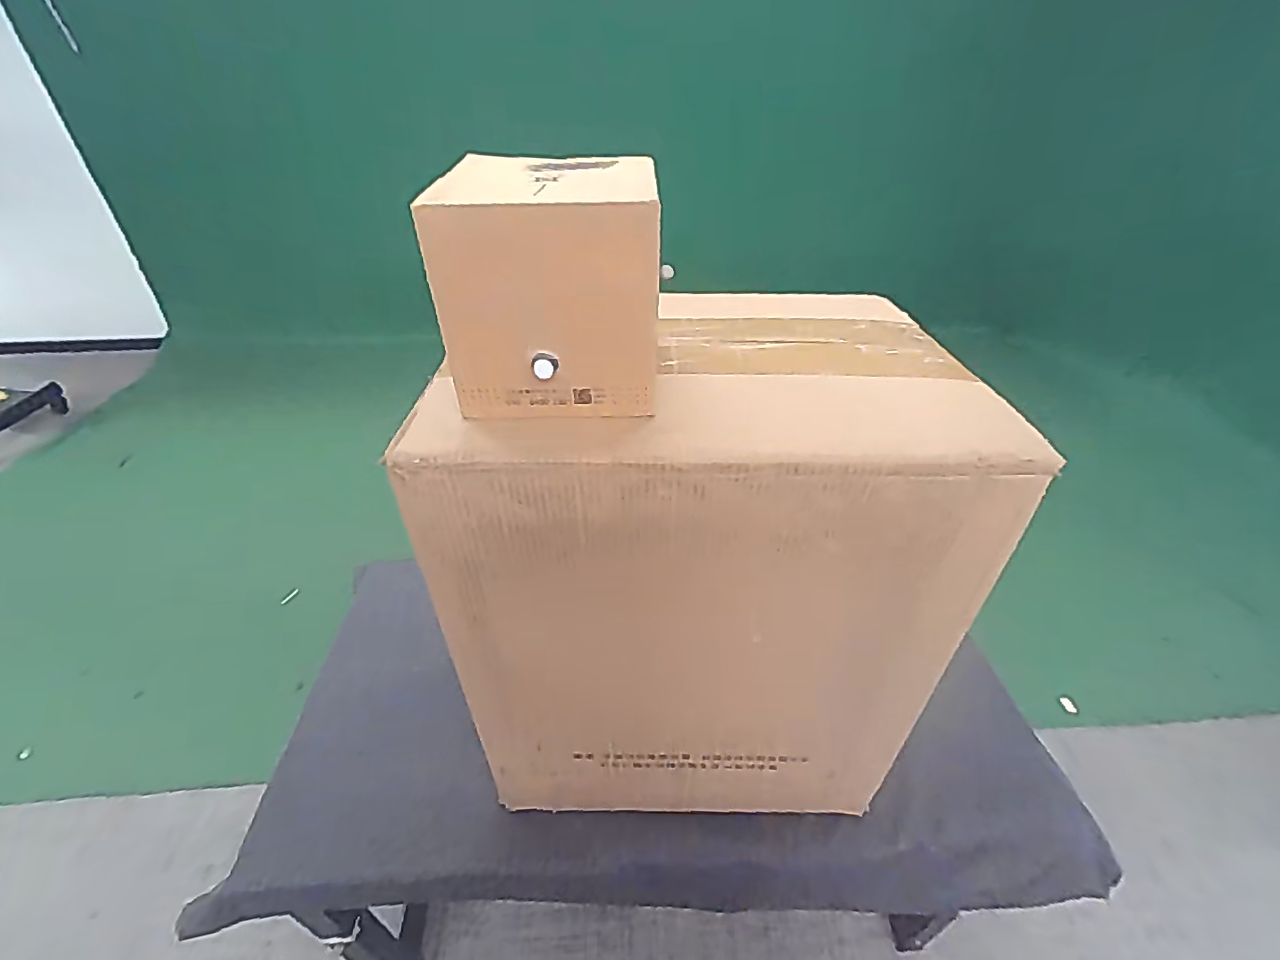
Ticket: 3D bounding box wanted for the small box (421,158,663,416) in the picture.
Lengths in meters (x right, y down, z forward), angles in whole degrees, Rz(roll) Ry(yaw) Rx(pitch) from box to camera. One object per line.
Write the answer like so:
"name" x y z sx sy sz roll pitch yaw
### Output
"small box" -0.066 -0.173 0.475 0.168 0.176 0.179 -1 40 0
